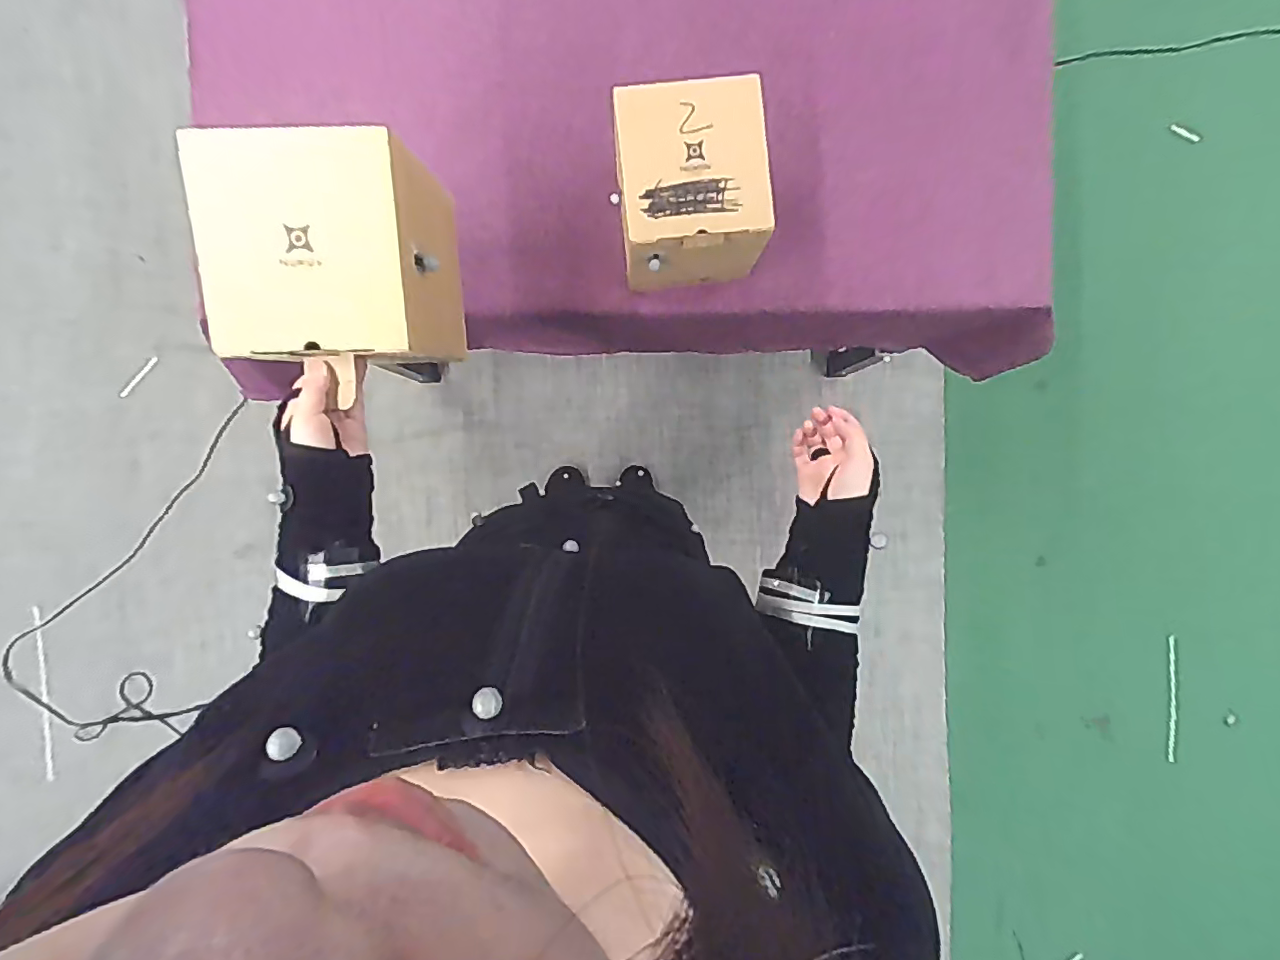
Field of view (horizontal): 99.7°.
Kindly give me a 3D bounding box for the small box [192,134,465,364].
[{"bbox_3d":[-0.280,-0.207,0.529,0.168,0.176,0.179,-1,101,-2],"label":"small box"}]
